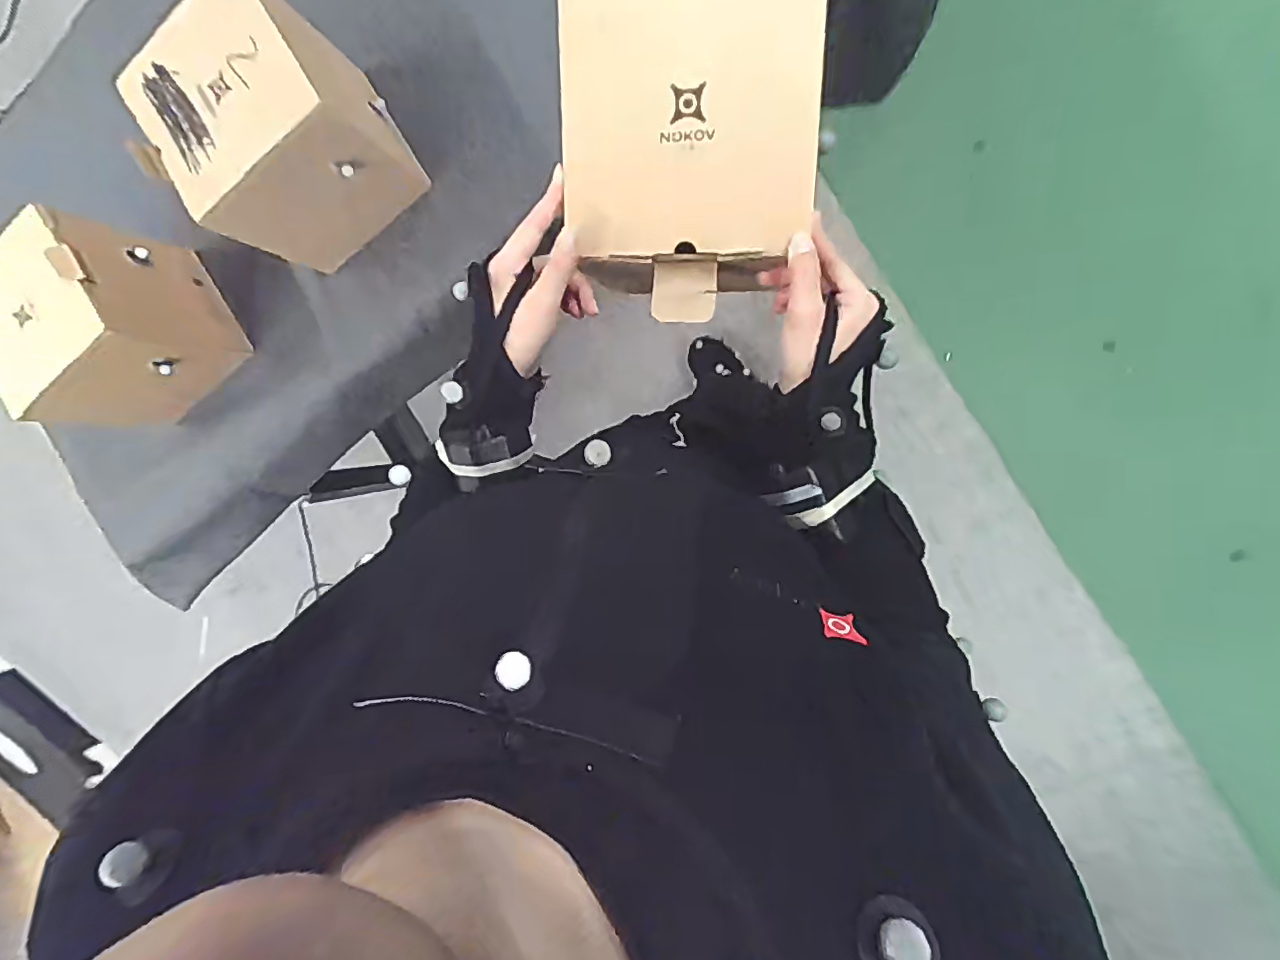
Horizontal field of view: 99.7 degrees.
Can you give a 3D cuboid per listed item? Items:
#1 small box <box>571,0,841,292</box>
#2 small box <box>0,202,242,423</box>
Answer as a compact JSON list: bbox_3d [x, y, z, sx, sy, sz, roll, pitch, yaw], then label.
[{"bbox_3d":[0.046,-0.247,0.416,0.168,0.176,0.179,1,104,7],"label":"small box"},{"bbox_3d":[-0.628,-0.183,0.649,0.179,0.176,0.168,-34,86,15],"label":"small box"}]
